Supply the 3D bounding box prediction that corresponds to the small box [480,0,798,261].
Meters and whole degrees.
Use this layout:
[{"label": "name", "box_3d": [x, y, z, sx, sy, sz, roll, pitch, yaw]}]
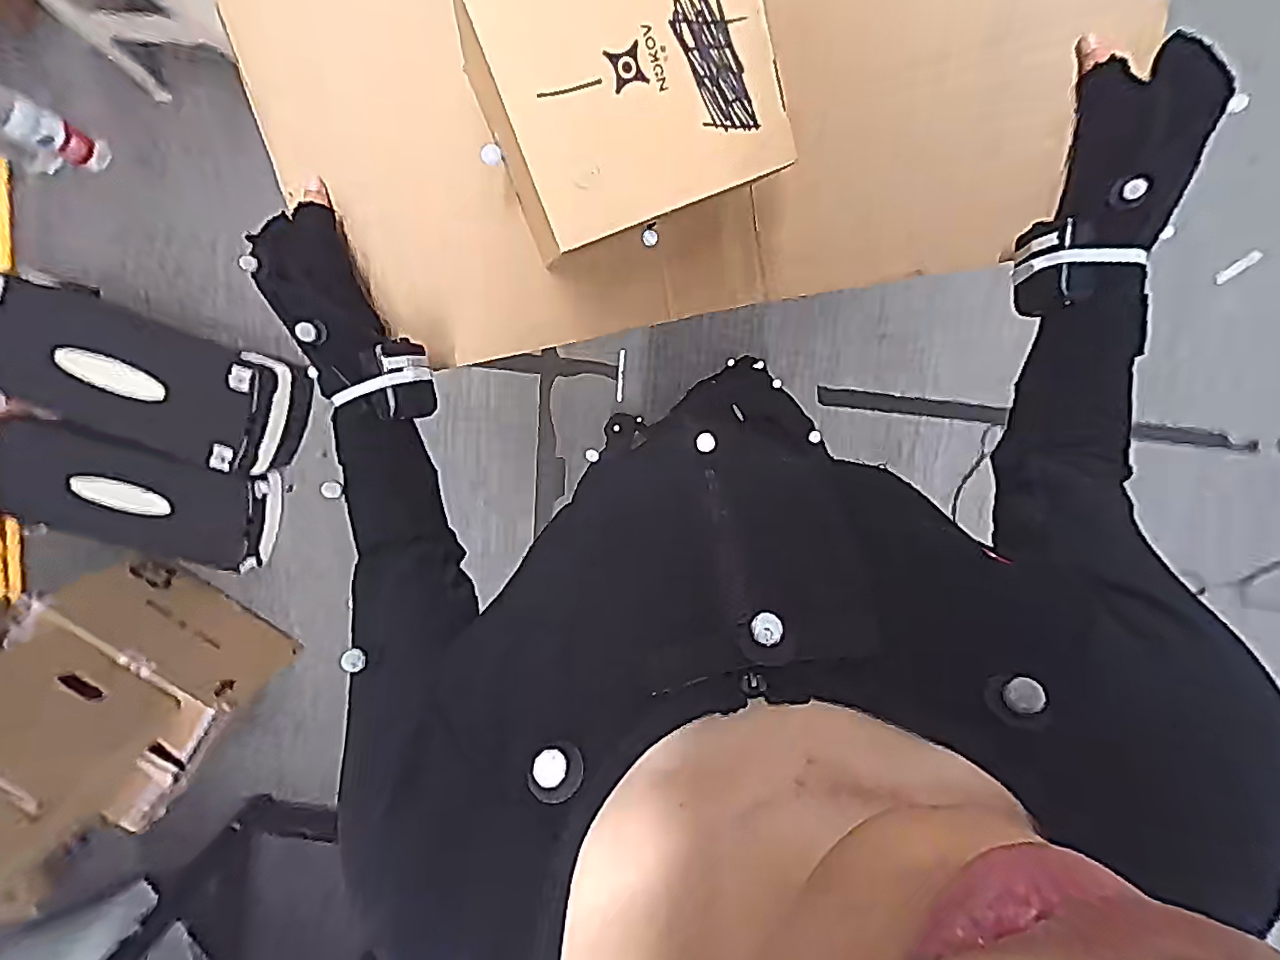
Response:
[{"label": "small box", "box_3d": [-0.010, -0.280, 0.413, 0.179, 0.176, 0.168, -22, 111, -5]}]
